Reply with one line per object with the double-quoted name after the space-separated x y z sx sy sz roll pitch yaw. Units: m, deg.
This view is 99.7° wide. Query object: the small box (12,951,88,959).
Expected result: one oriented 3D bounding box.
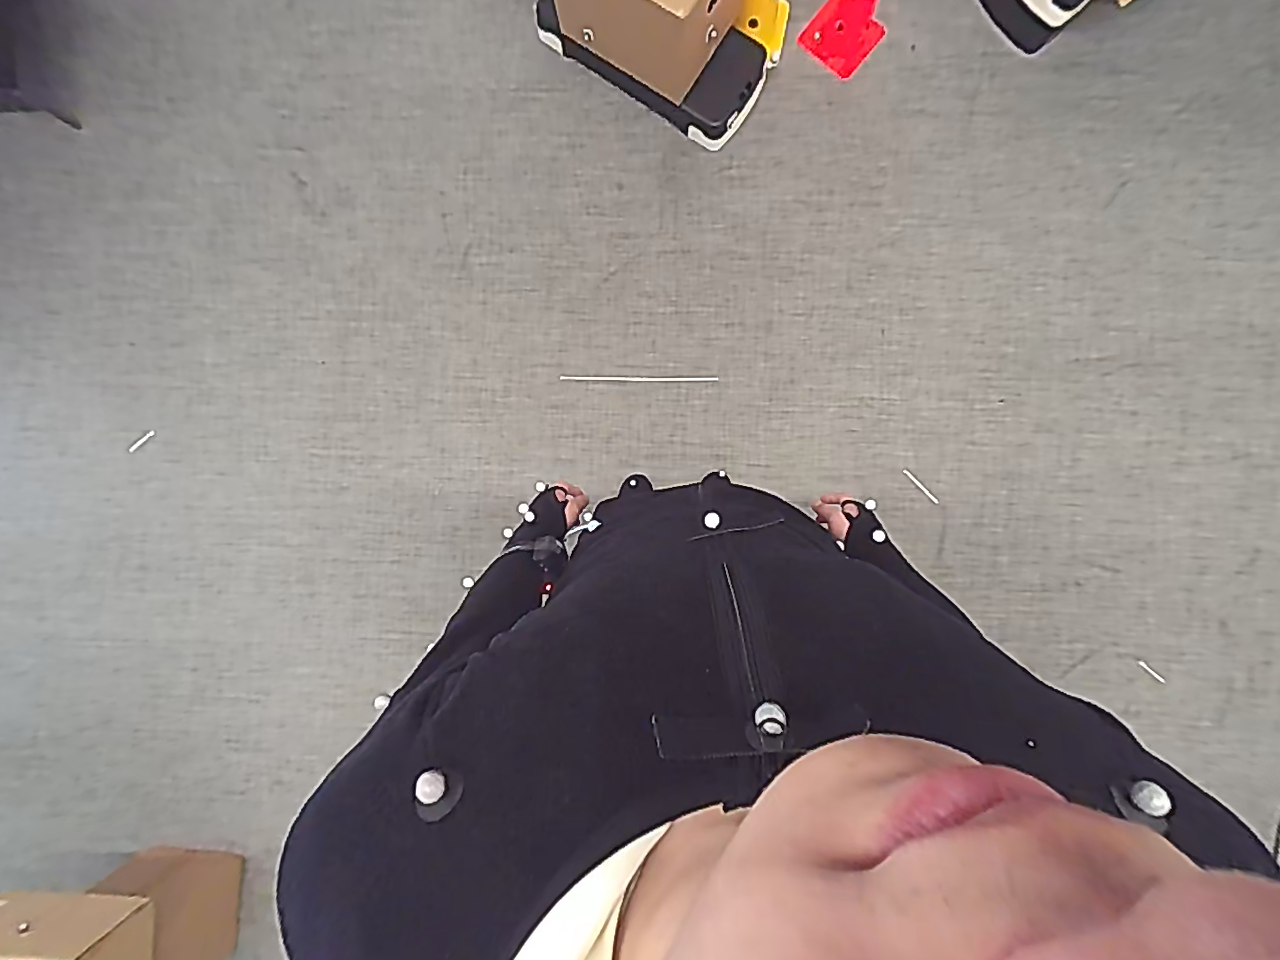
-1.381 1.187 1.186 0.179 0.176 0.168 3 89 1 "small box"
